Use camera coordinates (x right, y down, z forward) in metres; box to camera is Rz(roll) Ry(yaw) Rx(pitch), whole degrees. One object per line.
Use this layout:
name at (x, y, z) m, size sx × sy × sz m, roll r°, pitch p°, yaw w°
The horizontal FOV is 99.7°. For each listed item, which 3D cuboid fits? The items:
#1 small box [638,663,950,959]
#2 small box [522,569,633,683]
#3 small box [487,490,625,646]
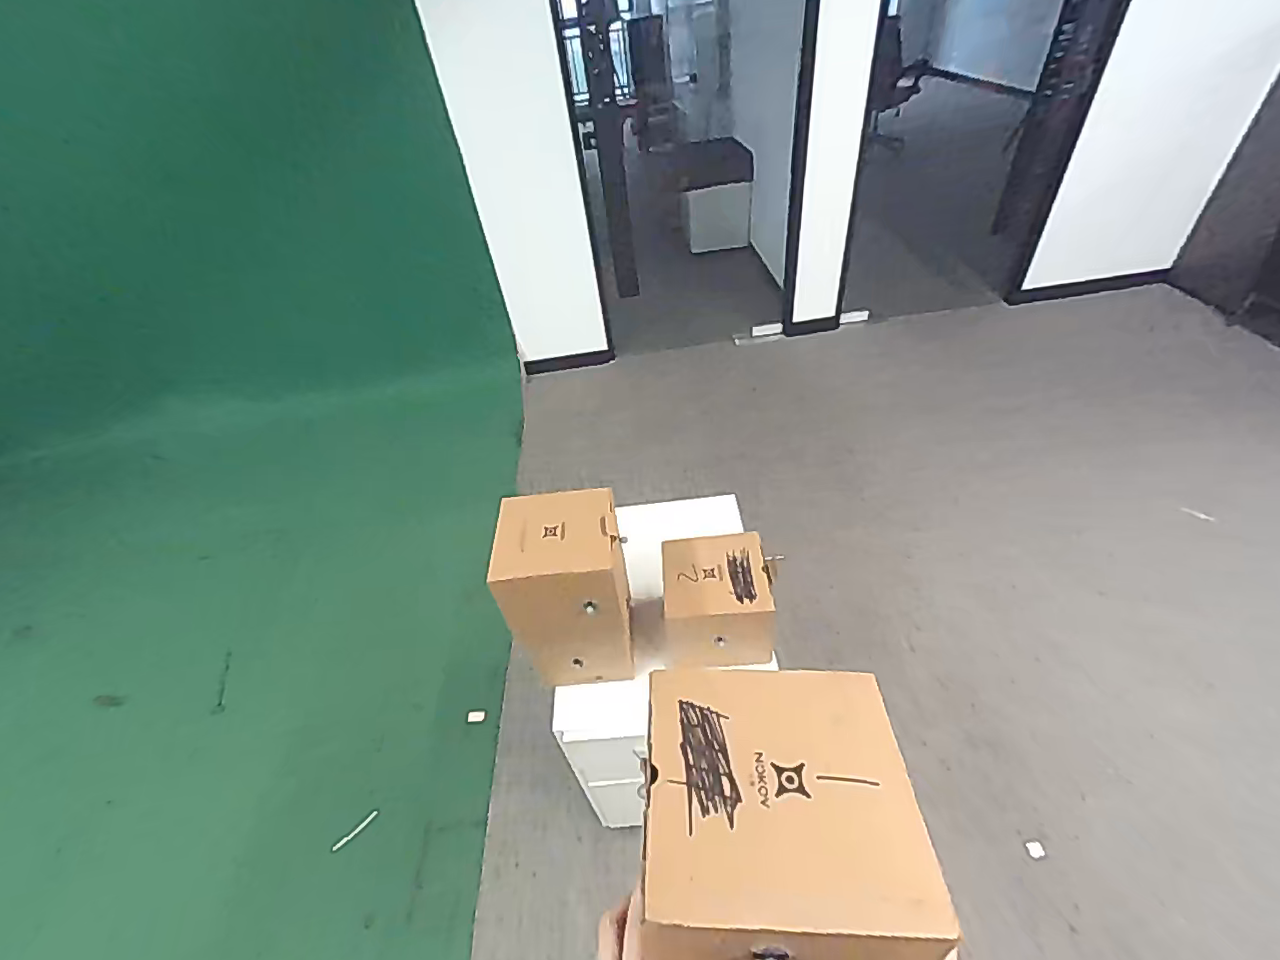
small box at (0.093, 0.261, 0.410) m, size 0.179 × 0.176 × 0.168 m, roll 1°, pitch 36°, yaw 3°
small box at (-0.102, 0.246, 0.960) m, size 0.168 × 0.176 × 0.179 m, roll -5°, pitch 43°, yaw 2°
small box at (-0.117, 0.138, 0.839) m, size 0.179 × 0.176 × 0.168 m, roll -7°, pitch 42°, yaw 2°
